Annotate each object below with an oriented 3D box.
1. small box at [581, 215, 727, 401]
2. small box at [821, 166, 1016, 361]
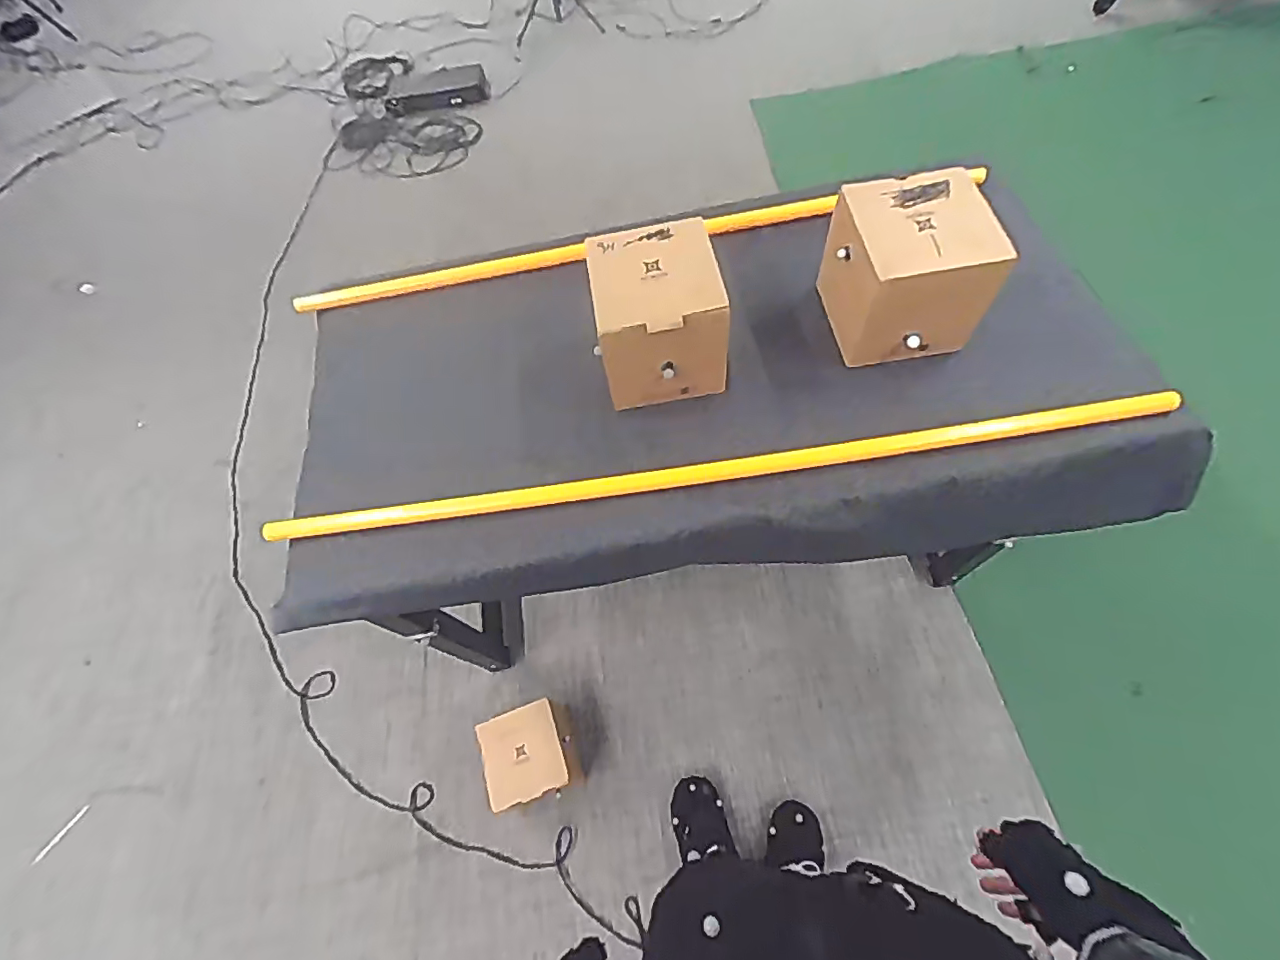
[{"bbox_3d":[0.024,-0.231,0.766,0.168,0.176,0.179,-13,61,2],"label":"small box"},{"bbox_3d":[0.365,-0.294,0.751,0.168,0.176,0.179,-9,63,3],"label":"small box"}]
